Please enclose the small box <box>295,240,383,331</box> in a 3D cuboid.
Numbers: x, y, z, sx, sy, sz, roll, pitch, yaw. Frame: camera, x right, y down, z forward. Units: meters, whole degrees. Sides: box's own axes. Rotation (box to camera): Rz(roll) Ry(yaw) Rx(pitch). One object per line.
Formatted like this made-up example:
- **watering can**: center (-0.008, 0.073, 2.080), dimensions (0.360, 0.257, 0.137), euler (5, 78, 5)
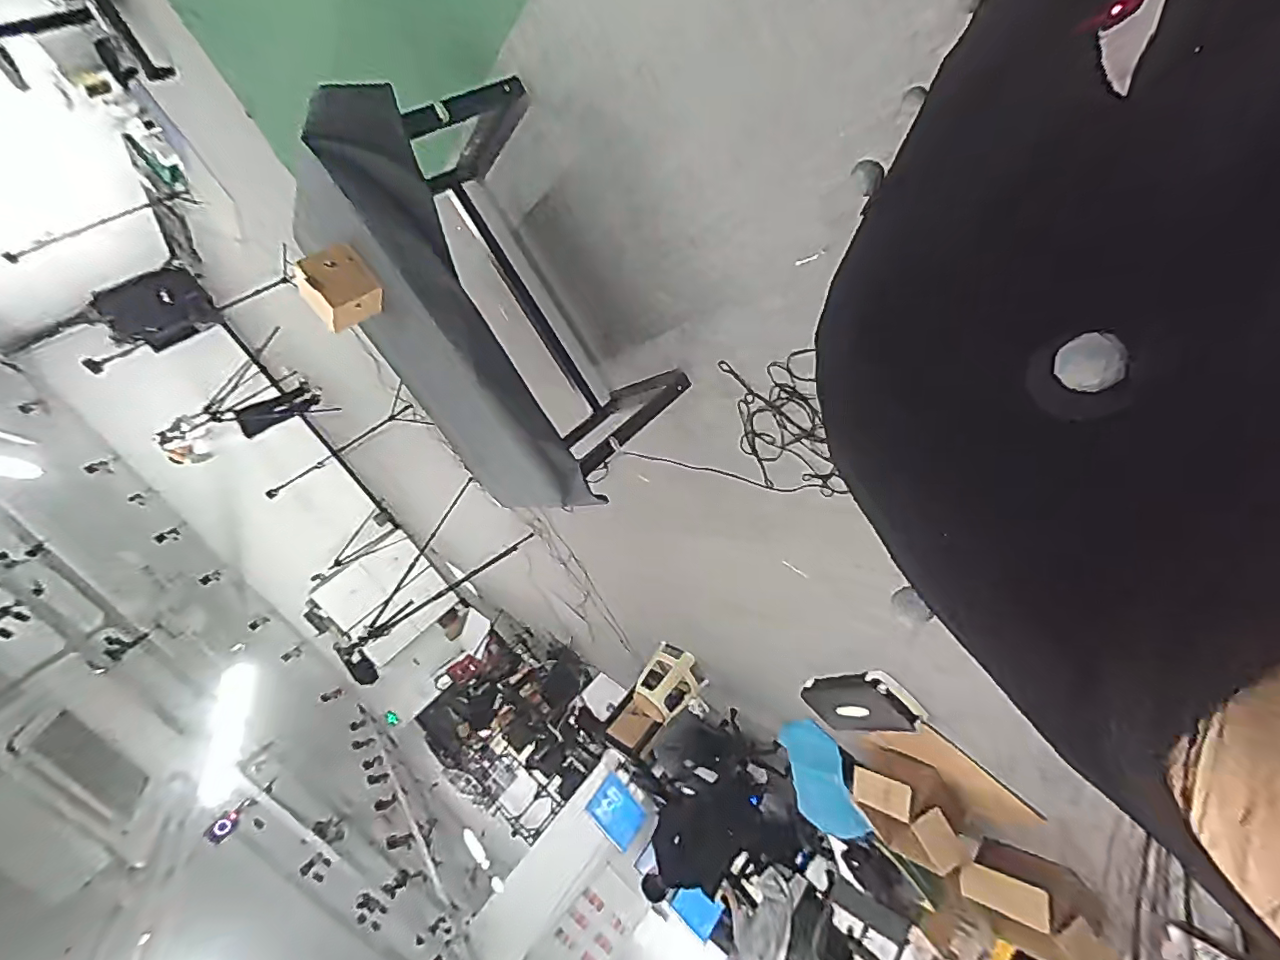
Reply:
- **small box**: center (-0.904, -0.590, 1.639), dimensions (0.168, 0.176, 0.179), euler (53, 153, -8)
